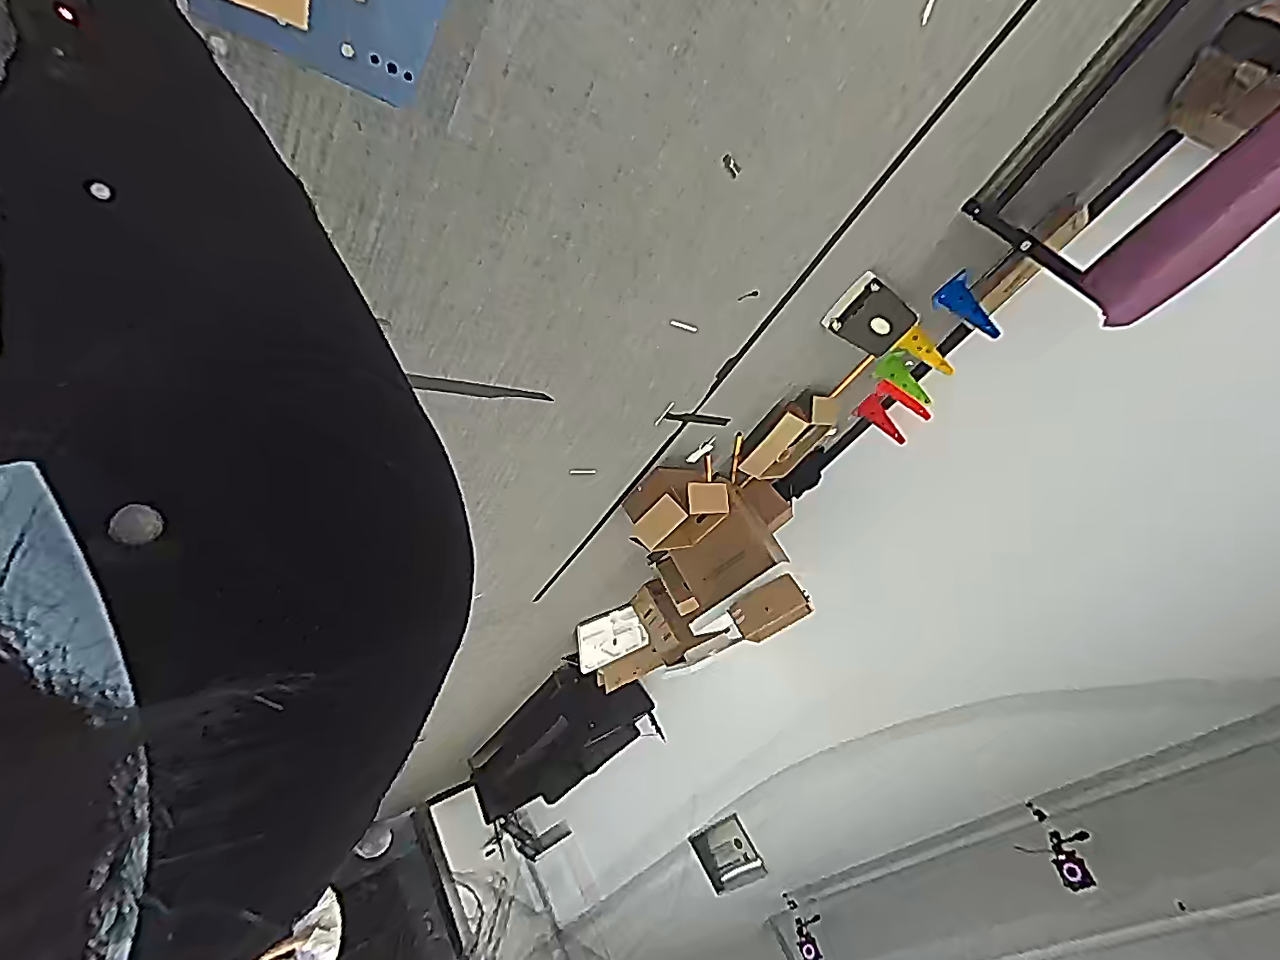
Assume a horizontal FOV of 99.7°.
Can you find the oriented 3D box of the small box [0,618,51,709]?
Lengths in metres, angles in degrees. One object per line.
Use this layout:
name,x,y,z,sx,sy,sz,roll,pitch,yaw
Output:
small box,-1.697,0.492,1.427,0.168,0.176,0.179,-12,148,-40
